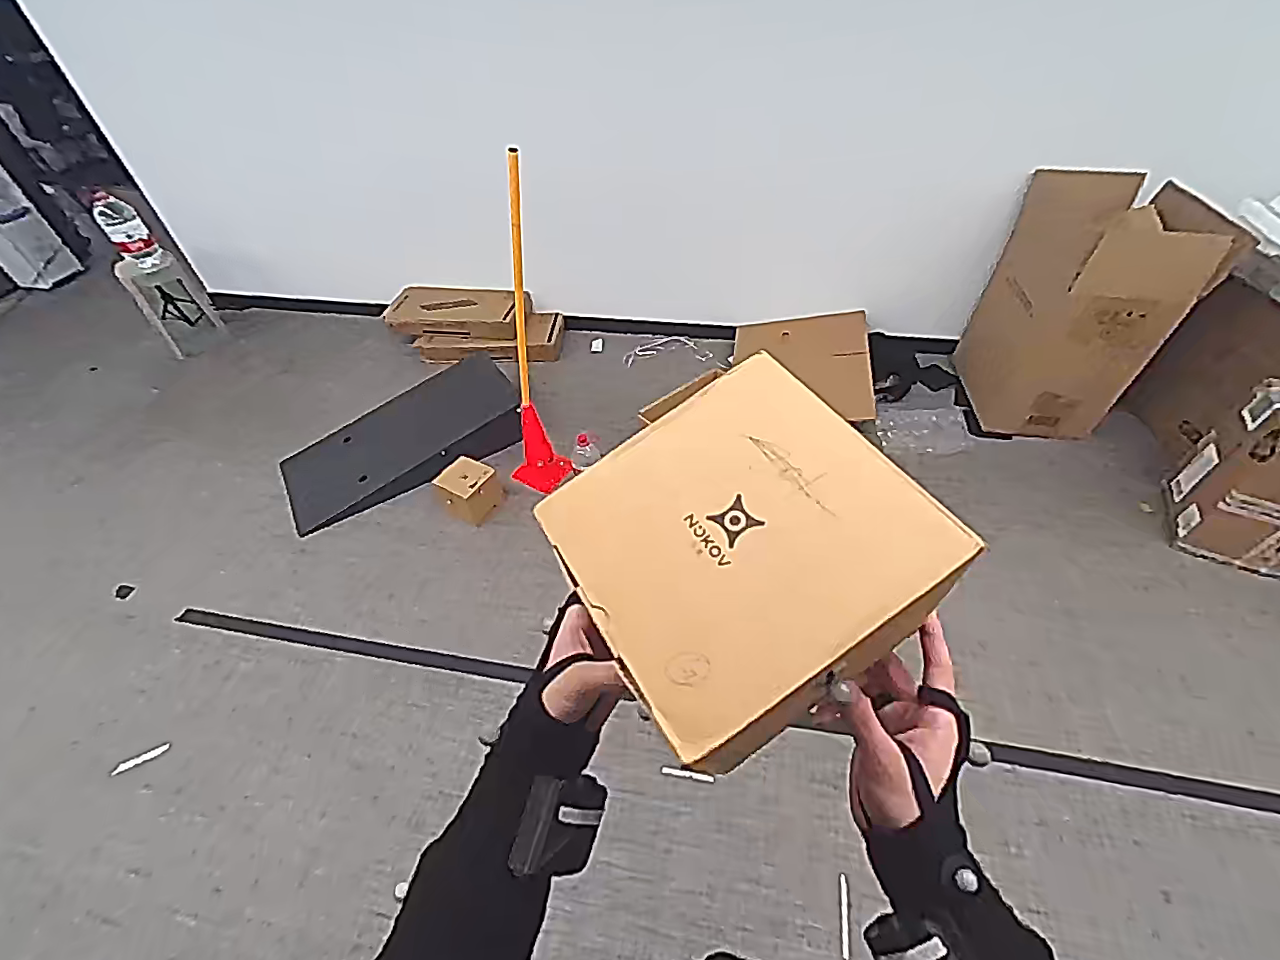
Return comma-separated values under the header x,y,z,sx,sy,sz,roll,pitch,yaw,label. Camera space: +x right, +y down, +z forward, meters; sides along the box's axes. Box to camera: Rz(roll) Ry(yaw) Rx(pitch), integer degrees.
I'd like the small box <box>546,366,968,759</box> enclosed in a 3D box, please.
x,y,z,sx,sy,sz,roll,pitch,yaw,label
0.071,0.066,0.367,0.179,0.176,0.168,-34,59,-5,small box
